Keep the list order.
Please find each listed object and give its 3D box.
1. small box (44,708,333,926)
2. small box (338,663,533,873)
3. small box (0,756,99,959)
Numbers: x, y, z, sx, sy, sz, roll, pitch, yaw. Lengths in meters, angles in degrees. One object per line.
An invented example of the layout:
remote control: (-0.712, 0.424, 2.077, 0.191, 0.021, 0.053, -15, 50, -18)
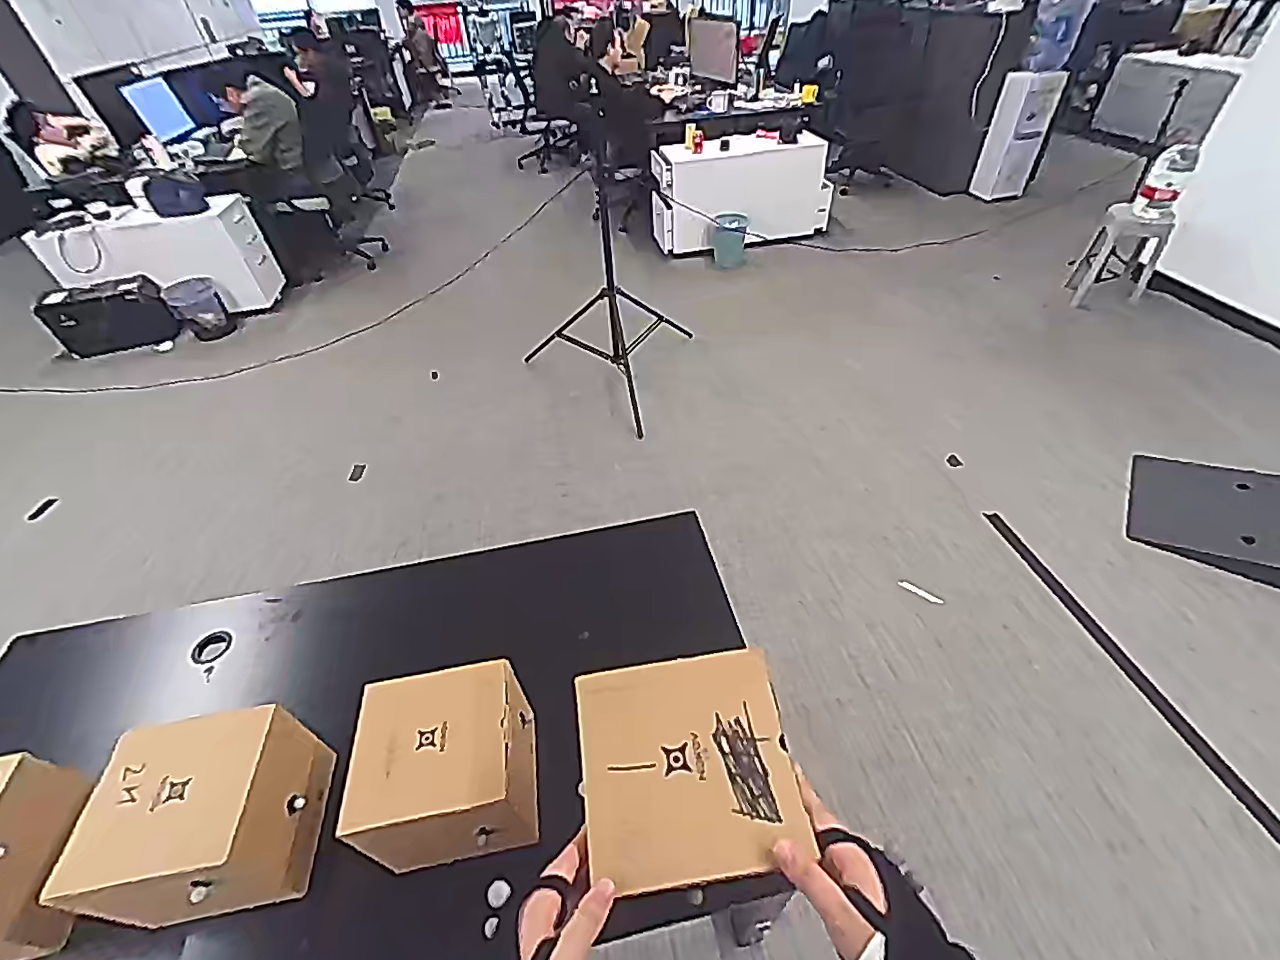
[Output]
small box: (-0.501, 0.399, 0.641, 0.179, 0.176, 0.168, -9, 43, -5)
small box: (-0.232, 0.355, 0.668, 0.179, 0.176, 0.168, -11, 43, -5)
small box: (-0.768, 0.448, 0.614, 0.179, 0.176, 0.168, -12, 44, -7)
